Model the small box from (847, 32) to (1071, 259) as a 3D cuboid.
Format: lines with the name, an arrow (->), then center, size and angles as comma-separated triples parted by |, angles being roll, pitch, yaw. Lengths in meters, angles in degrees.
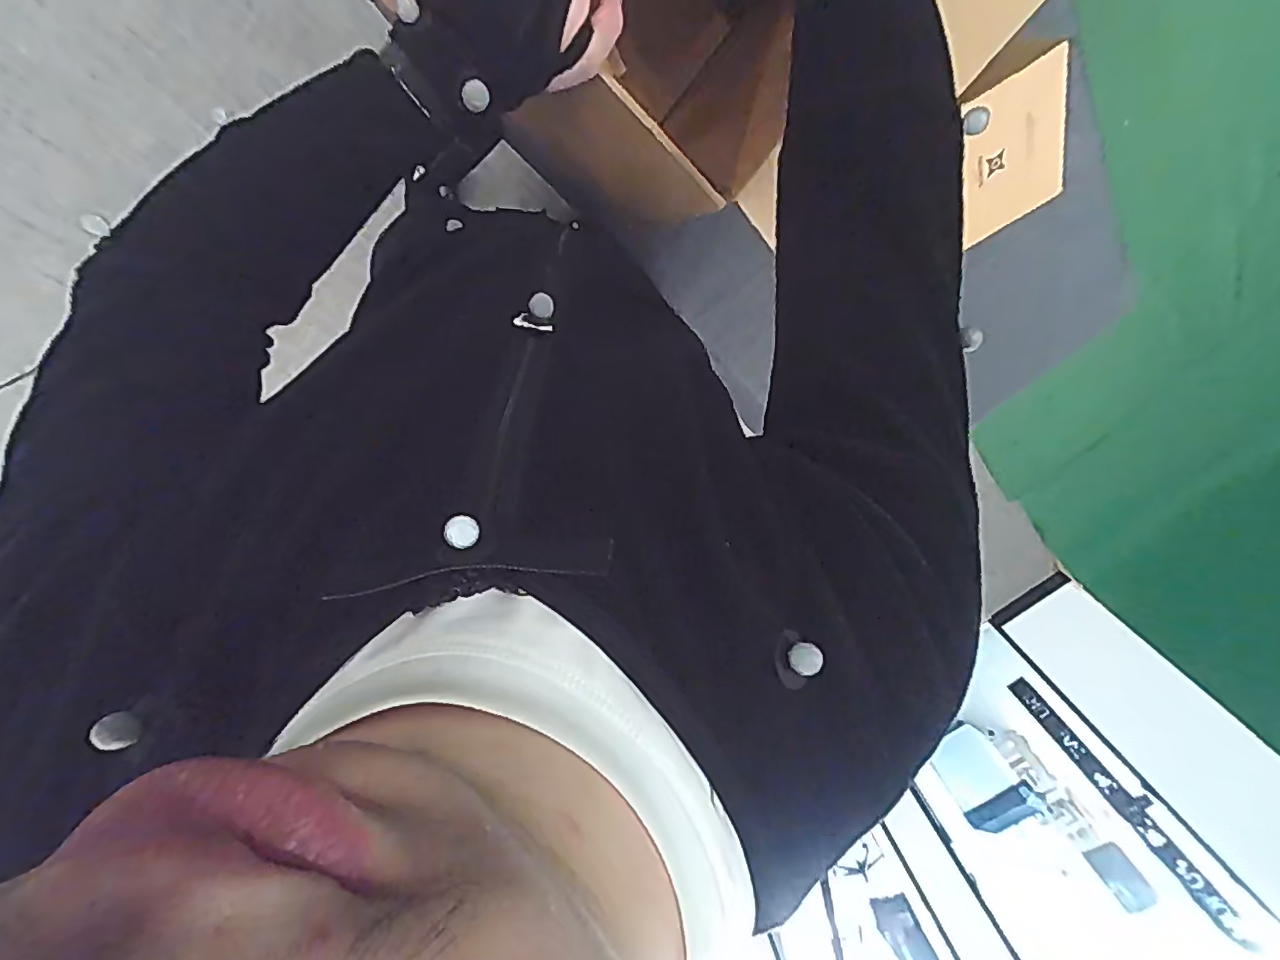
small box -> 0.381, -0.413, 0.673 | 0.179, 0.176, 0.168 | -31, 131, 6
